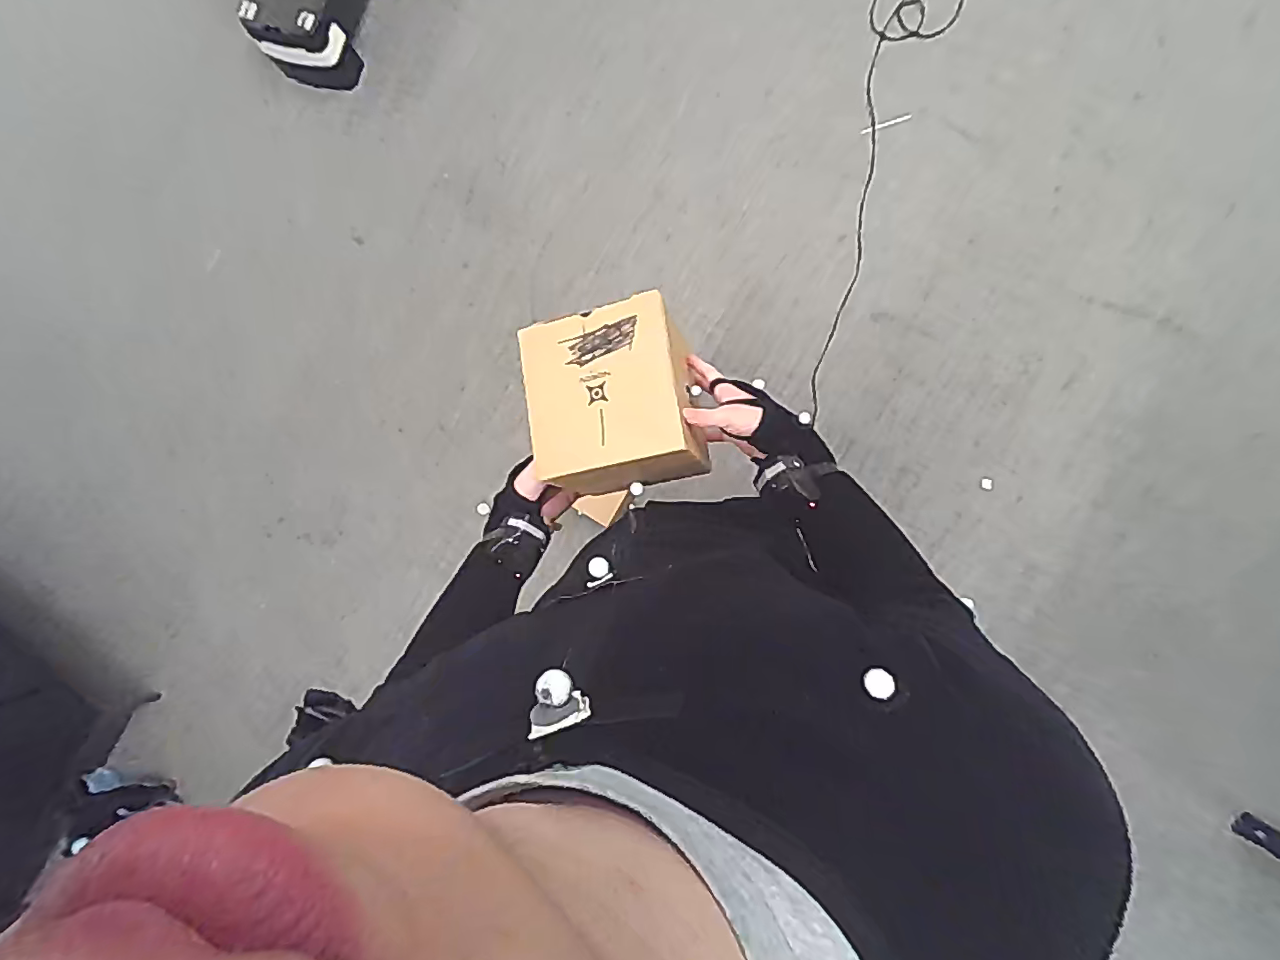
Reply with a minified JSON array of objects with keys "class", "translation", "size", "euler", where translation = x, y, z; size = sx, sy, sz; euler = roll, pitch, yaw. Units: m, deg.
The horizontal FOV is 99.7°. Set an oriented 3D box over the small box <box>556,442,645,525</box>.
[{"class":"small box","translation":[-0.104,0.013,1.513],"size":[0.179,0.176,0.168],"euler":[30,93,8]}]
